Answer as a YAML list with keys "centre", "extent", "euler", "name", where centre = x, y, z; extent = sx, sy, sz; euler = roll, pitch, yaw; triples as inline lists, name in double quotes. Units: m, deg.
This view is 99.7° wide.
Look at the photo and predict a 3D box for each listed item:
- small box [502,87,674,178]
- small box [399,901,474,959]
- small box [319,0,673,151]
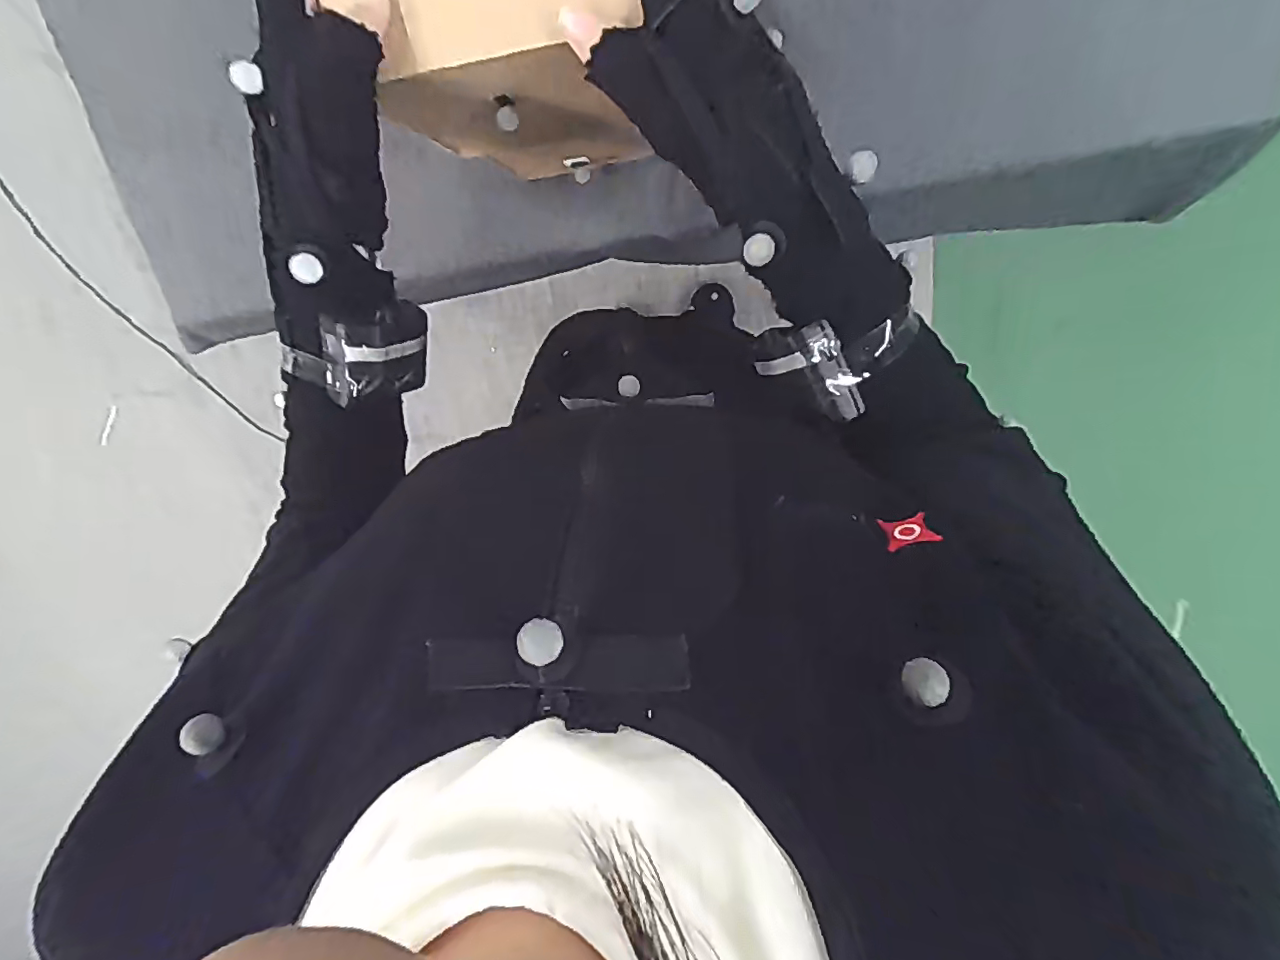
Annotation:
- centre: [-0.066, -0.394, 0.478]
  extent: [0.168, 0.176, 0.179]
  euler: [-9, 109, 10]
  name: "small box"
- centre: [-0.622, 1.426, 1.628]
  extent: [0.168, 0.176, 0.179]
  euler: [28, 109, -4]
  name: "small box"
- centre: [-0.081, -0.328, 0.330]
  extent: [0.179, 0.176, 0.168]
  euler: [-9, 105, 8]
  name: "small box"
